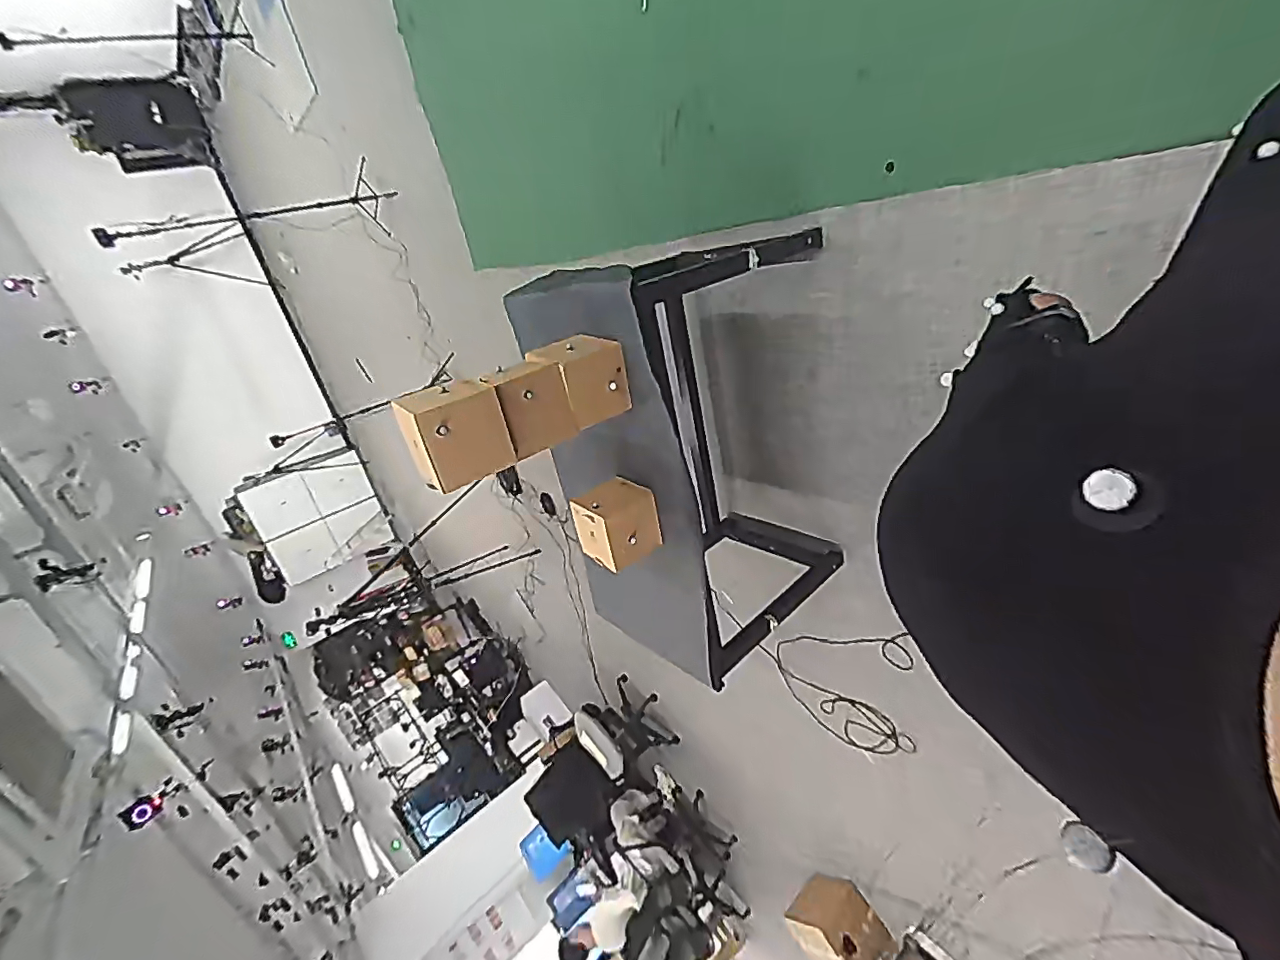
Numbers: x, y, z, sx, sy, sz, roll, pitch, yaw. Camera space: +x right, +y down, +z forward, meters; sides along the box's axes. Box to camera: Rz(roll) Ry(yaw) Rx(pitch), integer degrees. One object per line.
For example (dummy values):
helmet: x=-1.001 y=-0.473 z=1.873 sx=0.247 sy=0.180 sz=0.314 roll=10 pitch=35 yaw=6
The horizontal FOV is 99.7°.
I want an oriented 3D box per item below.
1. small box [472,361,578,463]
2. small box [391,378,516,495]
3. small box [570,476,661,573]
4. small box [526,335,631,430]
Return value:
small box: x=-0.266 y=-0.162 z=1.224 sx=0.168 sy=0.176 sz=0.179 roll=19 pitch=131 yaw=52
small box: x=-0.382 y=-0.100 z=1.121 sx=0.168 sy=0.176 sz=0.179 roll=25 pitch=135 yaw=49
small box: x=-0.060 y=0.115 z=1.473 sx=0.168 sy=0.176 sz=0.179 roll=21 pitch=132 yaw=47
small box: x=-0.145 y=-0.240 z=1.299 sx=0.179 sy=0.176 sz=0.168 roll=25 pitch=135 yaw=45
